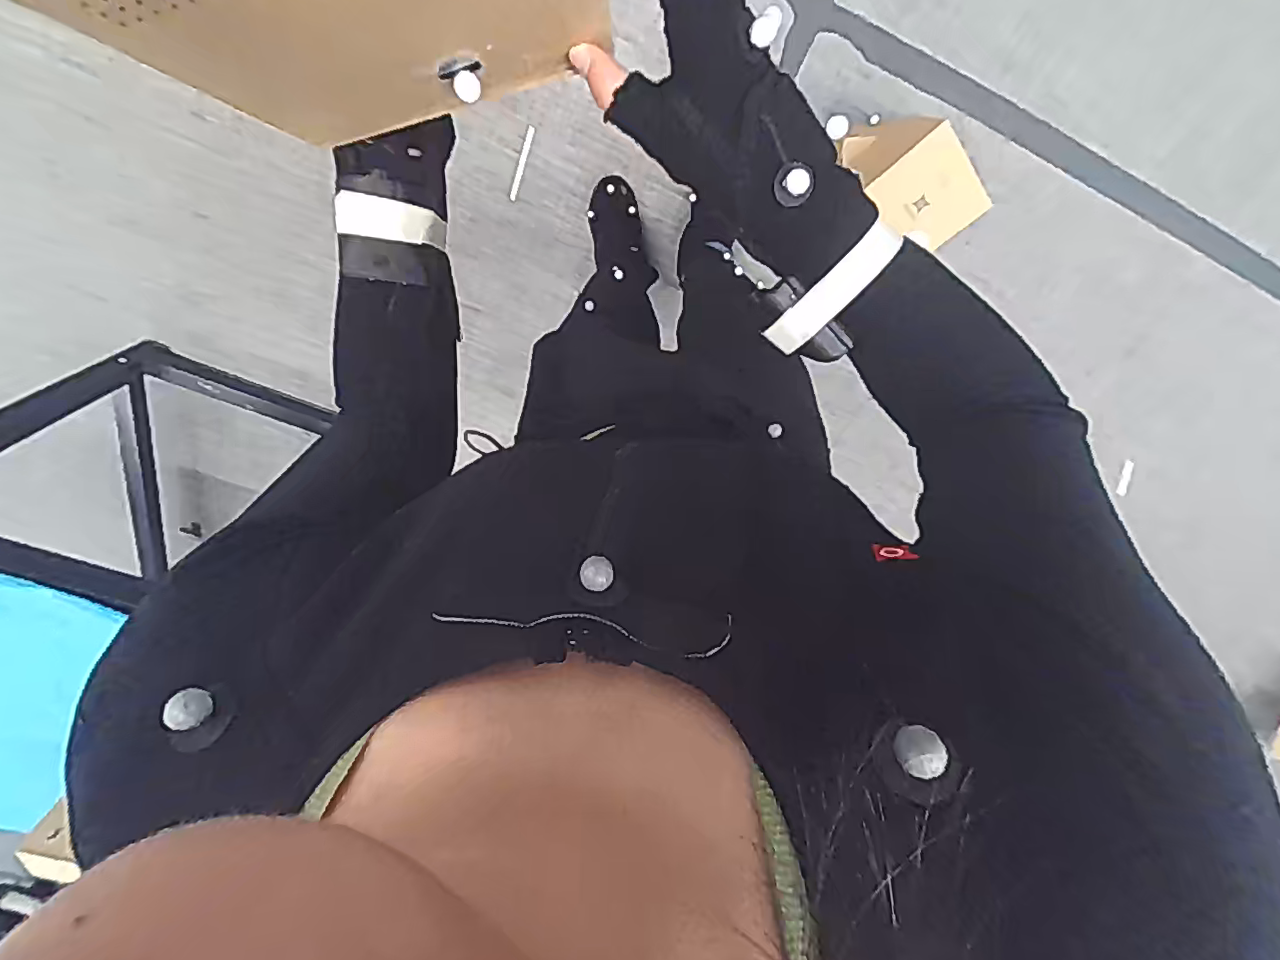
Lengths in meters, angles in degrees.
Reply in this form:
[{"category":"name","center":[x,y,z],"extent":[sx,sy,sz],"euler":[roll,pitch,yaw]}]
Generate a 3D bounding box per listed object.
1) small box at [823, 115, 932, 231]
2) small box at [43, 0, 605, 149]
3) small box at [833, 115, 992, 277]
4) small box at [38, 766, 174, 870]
[{"category":"small box","center":[0.466,-0.605,1.064],"extent":[0.179,0.176,0.168],"euler":[-6,126,8]},{"category":"small box","center":[-0.123,-0.253,0.196],"extent":[0.179,0.176,0.168],"euler":[-14,108,5]},{"category":"small box","center":[0.457,-0.495,0.940],"extent":[0.179,0.176,0.168],"euler":[-36,118,26]},{"category":"small box","center":[-1.339,0.851,1.369],"extent":[0.179,0.176,0.168],"euler":[22,126,-13]}]
